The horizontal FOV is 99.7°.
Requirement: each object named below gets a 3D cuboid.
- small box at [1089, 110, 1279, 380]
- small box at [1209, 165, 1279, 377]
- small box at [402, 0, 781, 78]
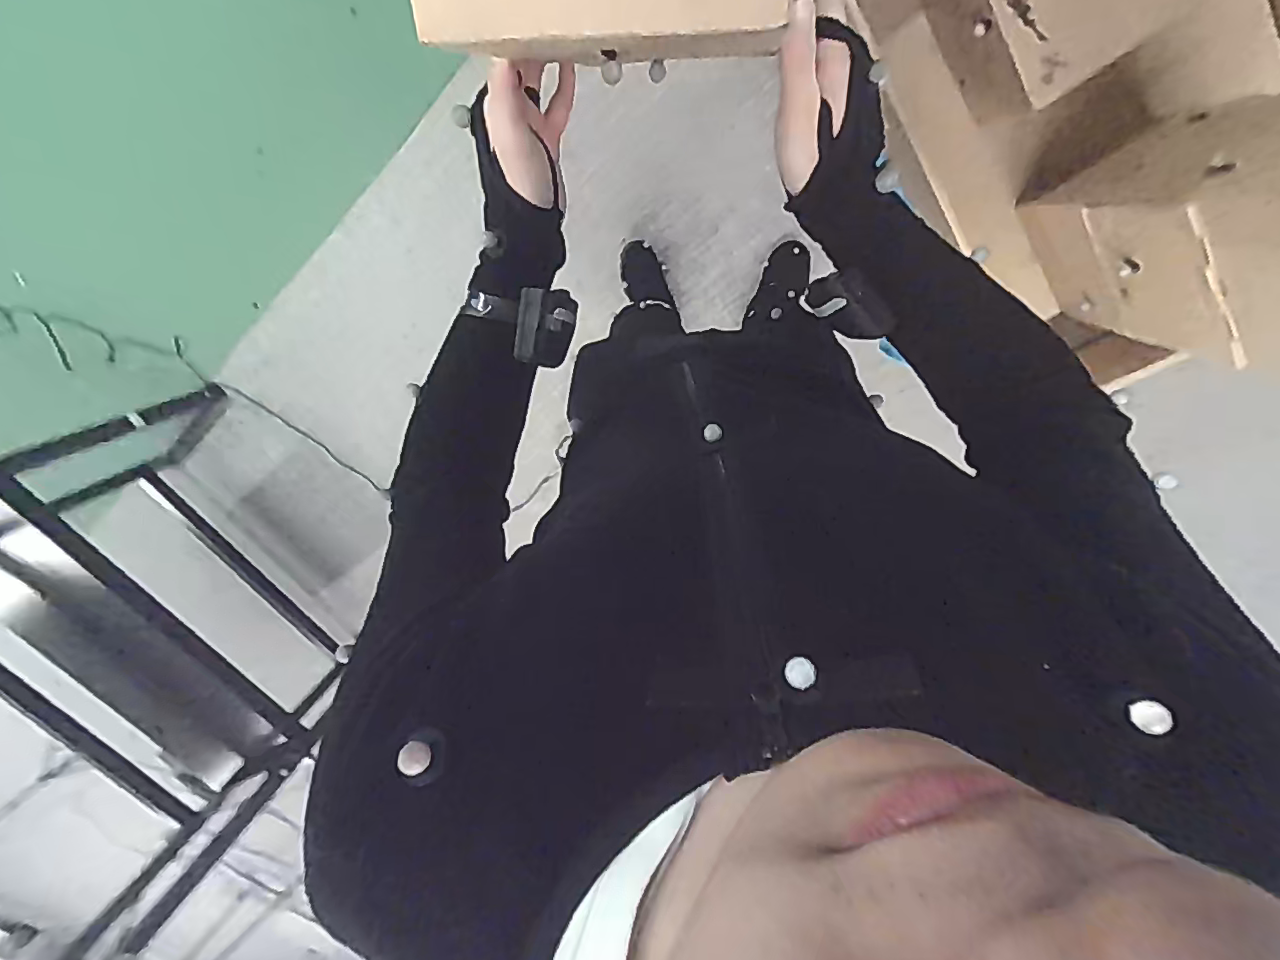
[{"bbox_3d":[0.577,-0.224,0.498,0.179,0.176,0.168,-29,106,24],"label":"small box"},{"bbox_3d":[0.542,-0.156,0.352,0.168,0.176,0.179,-29,106,24],"label":"small box"},{"bbox_3d":[-0.014,-0.311,0.272,0.179,0.176,0.168,5,124,10],"label":"small box"}]
